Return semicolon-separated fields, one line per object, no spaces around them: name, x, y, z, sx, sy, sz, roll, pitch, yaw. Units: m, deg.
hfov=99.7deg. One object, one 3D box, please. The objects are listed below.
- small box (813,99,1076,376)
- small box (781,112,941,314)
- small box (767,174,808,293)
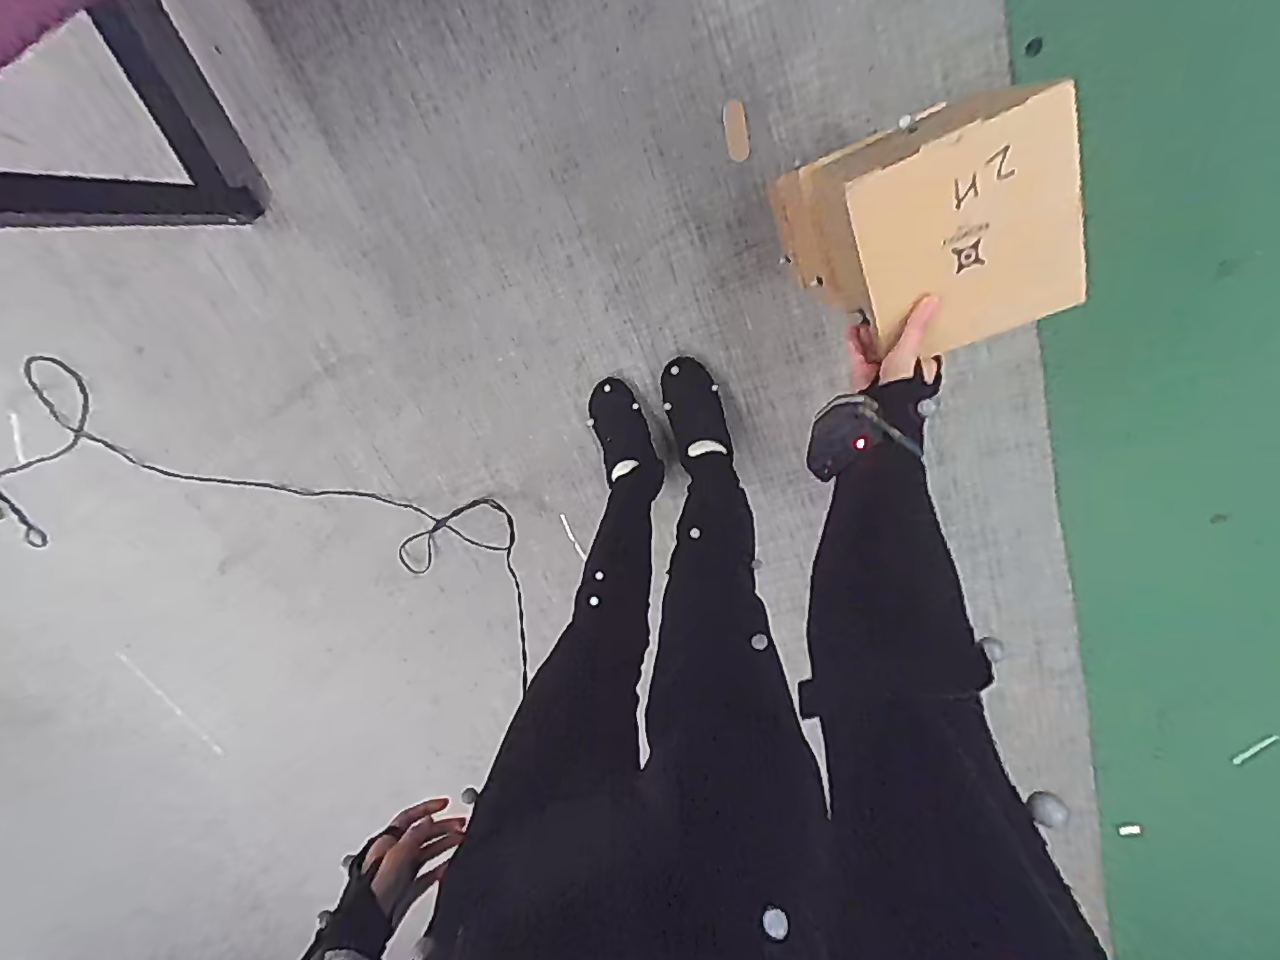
small box;0.279;-0.232;0.521;0.168;0.176;0.179;-18;119;17
small box;0.296;-0.343;0.717;0.168;0.176;0.179;-18;113;15
small box;0.307;-0.413;0.862;0.179;0.176;0.168;-16;113;13
